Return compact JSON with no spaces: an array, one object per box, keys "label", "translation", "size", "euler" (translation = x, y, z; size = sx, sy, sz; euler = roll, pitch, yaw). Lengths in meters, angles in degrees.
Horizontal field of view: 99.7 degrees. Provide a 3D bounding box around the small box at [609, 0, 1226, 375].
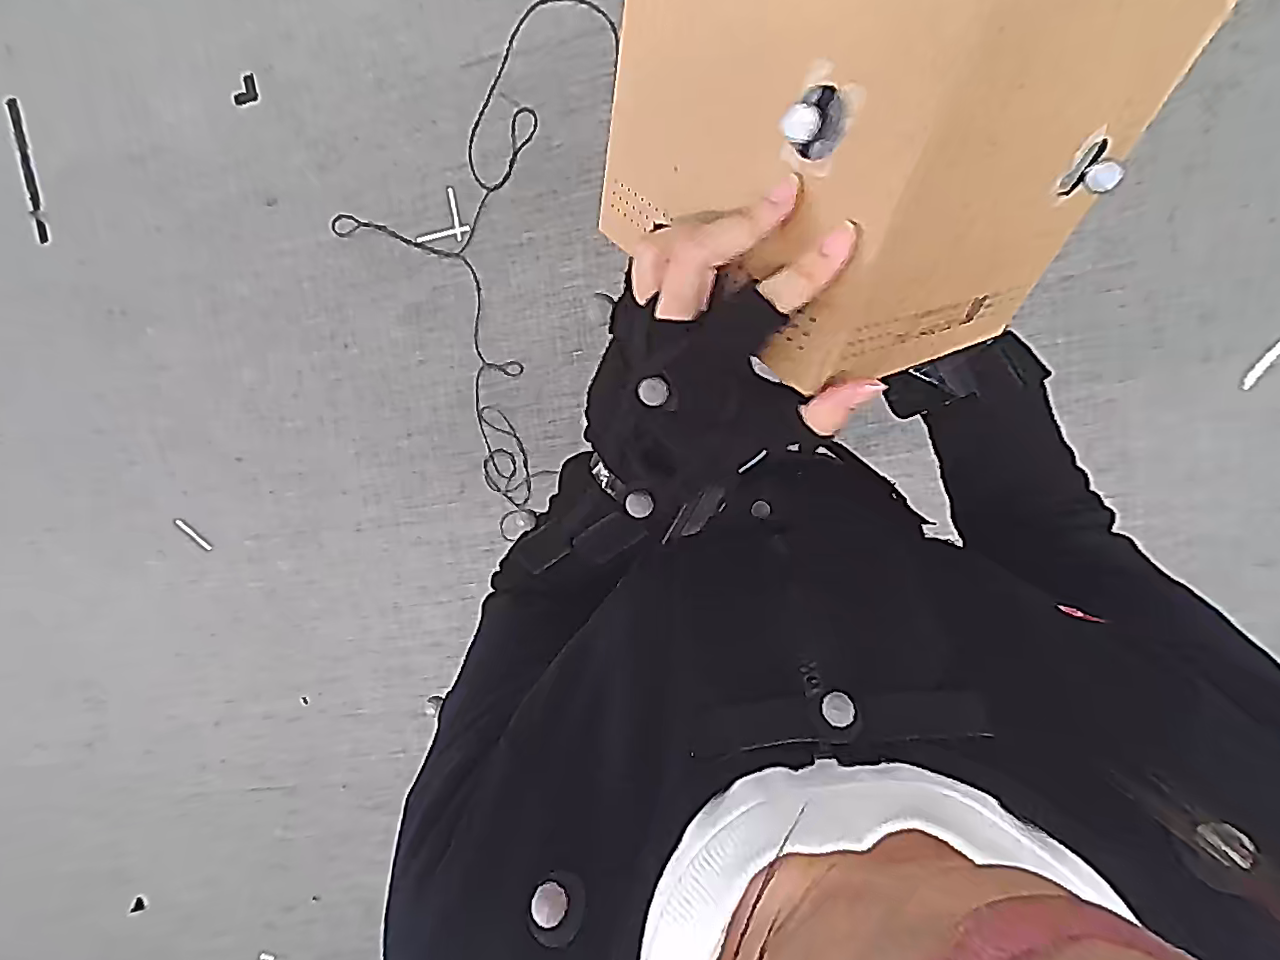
[{"label":"small box","translation":[0.104,-0.166,0.261],"size":[0.179,0.168,0.176],"euler":[48,143,31]}]
